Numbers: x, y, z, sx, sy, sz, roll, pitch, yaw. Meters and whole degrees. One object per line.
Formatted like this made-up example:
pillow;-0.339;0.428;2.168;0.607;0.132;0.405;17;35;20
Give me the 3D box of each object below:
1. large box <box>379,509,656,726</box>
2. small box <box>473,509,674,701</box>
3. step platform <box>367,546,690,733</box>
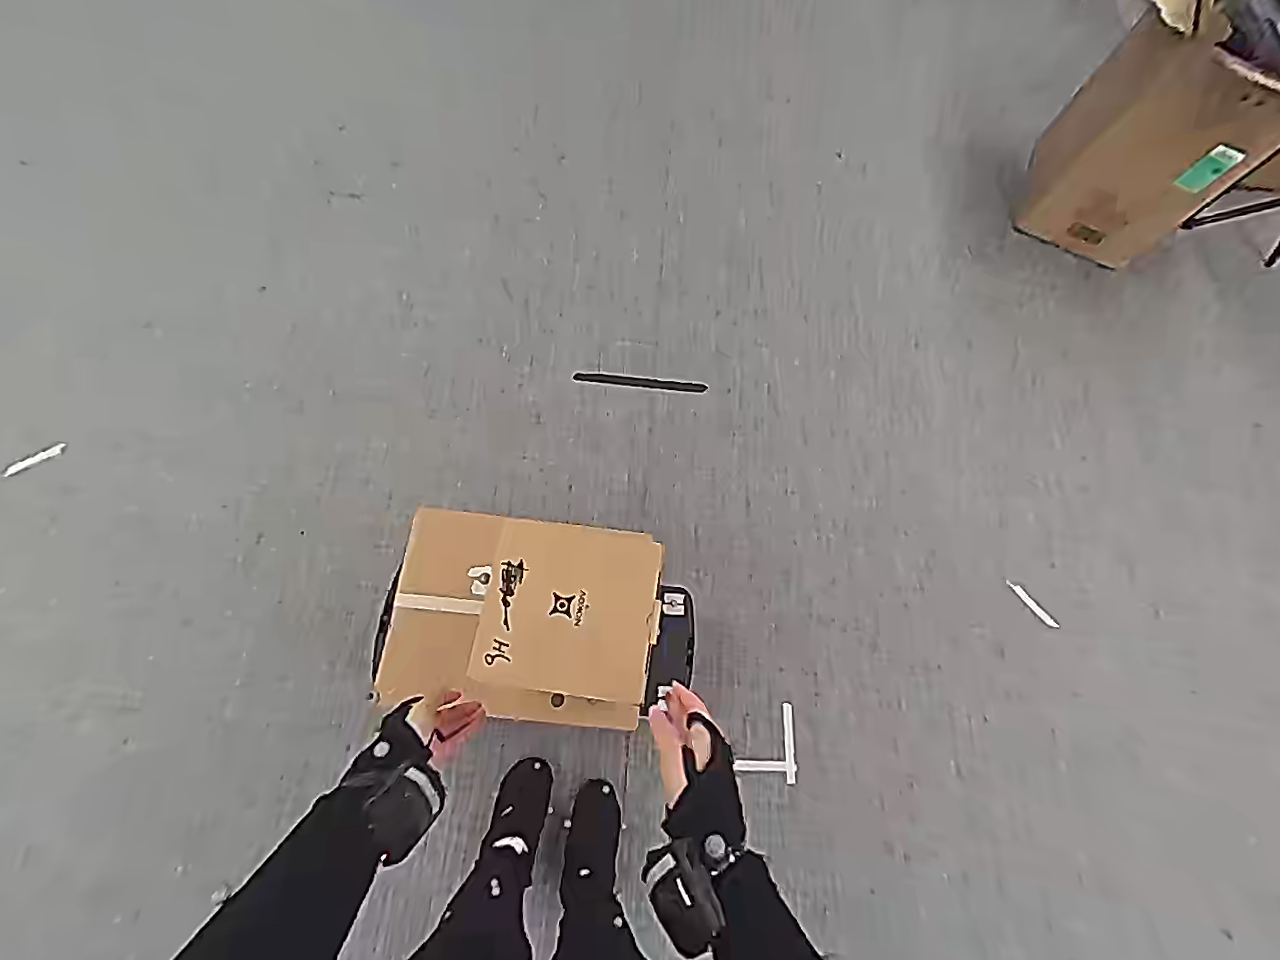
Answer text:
large box;-0.190;0.260;1.002;0.408;0.320;0.320;7;69;-2
small box;-0.070;0.148;0.618;0.179;0.176;0.168;11;69;-2
step platform;-0.230;0.354;1.218;0.684;0.204;0.286;12;69;0
